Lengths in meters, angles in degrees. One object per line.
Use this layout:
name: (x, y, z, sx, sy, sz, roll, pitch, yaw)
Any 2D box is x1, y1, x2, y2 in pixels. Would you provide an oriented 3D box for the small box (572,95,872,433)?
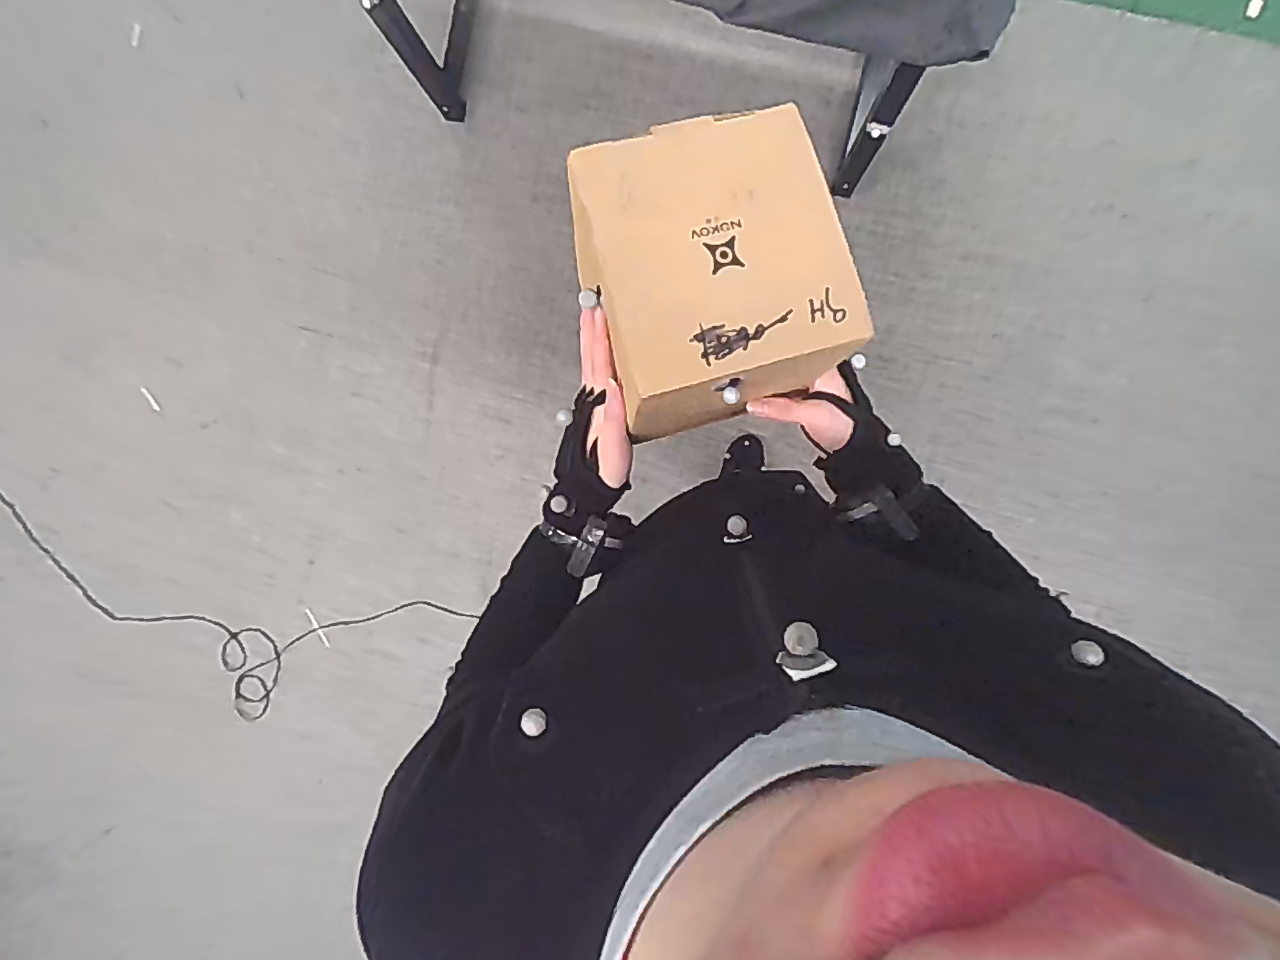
small box: (0.048, -0.154, 0.437, 0.168, 0.176, 0.179, -16, 84, -5)
